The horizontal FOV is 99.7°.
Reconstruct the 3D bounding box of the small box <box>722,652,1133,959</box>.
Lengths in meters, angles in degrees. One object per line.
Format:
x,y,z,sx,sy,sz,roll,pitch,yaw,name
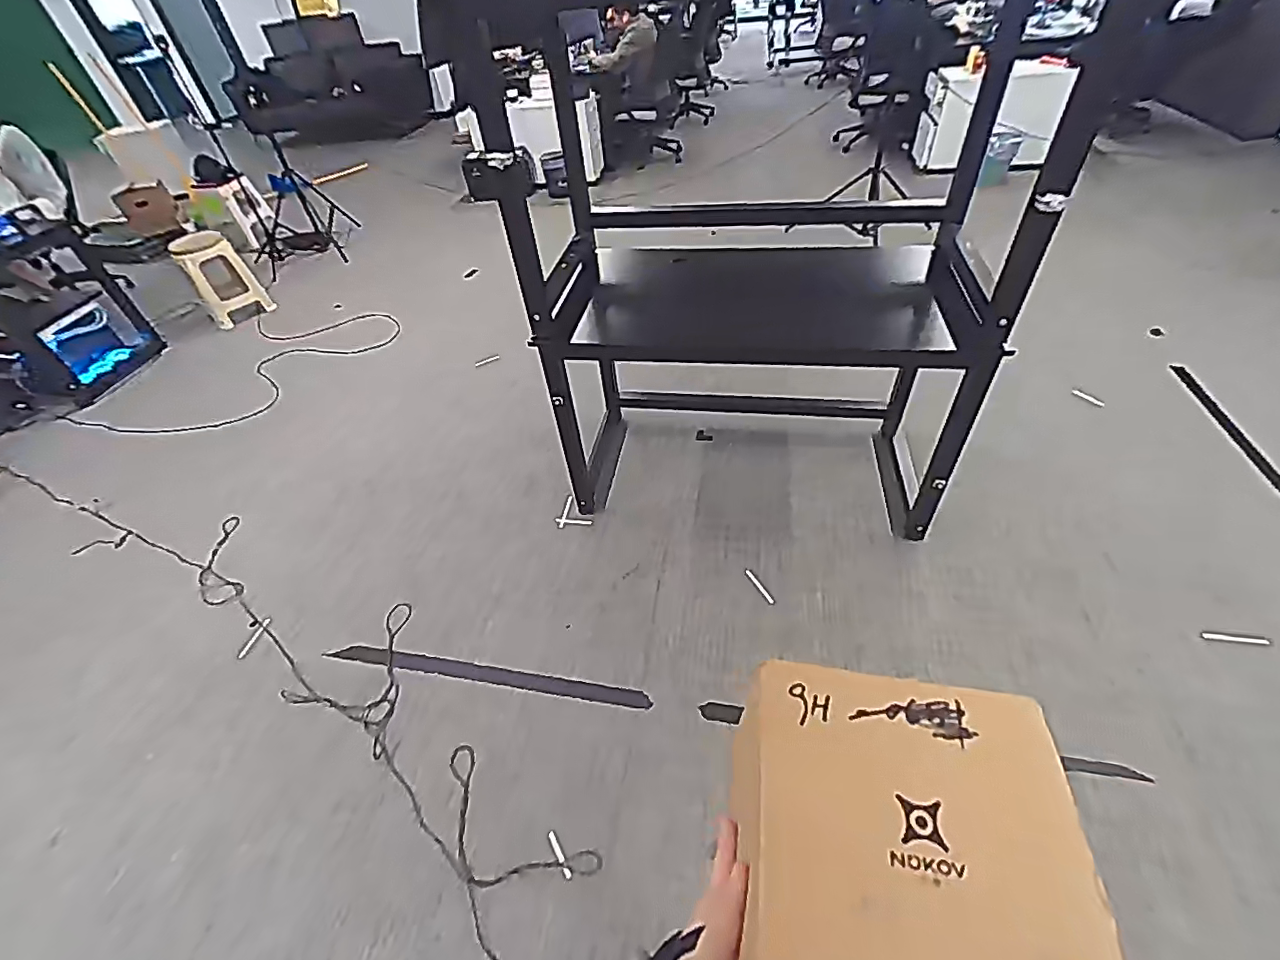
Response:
0.144,0.234,0.329,0.168,0.176,0.179,8,47,6,small box
